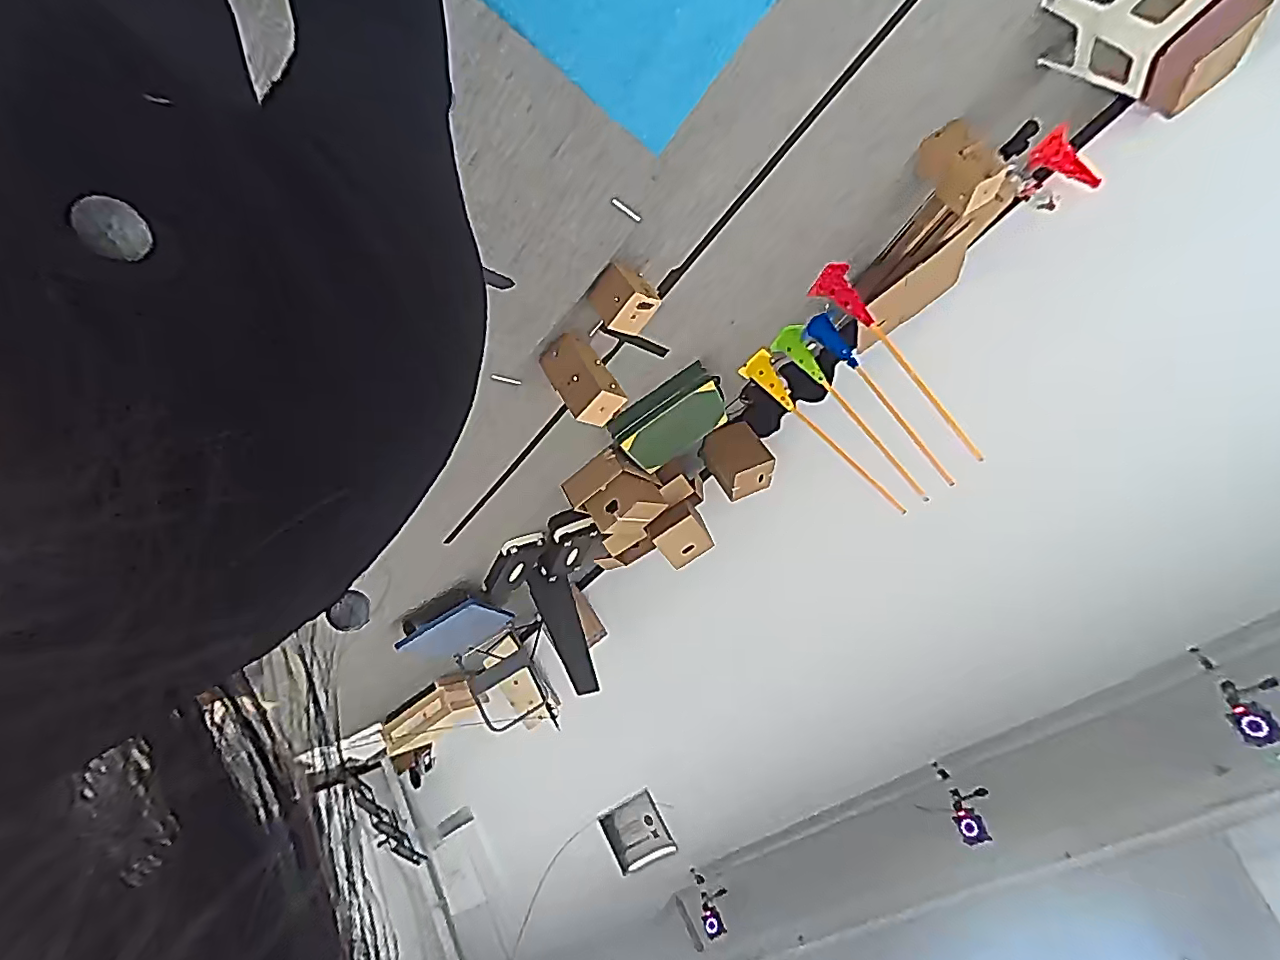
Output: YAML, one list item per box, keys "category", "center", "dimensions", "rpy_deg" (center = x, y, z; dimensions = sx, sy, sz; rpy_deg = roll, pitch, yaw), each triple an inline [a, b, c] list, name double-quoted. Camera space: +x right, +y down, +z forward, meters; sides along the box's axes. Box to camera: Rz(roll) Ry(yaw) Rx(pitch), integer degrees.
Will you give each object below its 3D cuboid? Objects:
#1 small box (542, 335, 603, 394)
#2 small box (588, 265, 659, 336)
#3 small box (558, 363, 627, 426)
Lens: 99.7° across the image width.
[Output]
- category: "small box"
  center: [-0.276, -0.459, 2.211]
  dimensions: [0.179, 0.176, 0.168]
  rpy_deg: [-41, 158, 23]
- category: "small box"
  center: [-0.067, -0.677, 2.040]
  dimensions: [0.168, 0.176, 0.179]
  rpy_deg: [-3, 144, -51]
- category: "small box"
  center: [-0.190, -0.338, 2.144]
  dimensions: [0.168, 0.176, 0.179]
  rpy_deg: [-44, 155, 22]
